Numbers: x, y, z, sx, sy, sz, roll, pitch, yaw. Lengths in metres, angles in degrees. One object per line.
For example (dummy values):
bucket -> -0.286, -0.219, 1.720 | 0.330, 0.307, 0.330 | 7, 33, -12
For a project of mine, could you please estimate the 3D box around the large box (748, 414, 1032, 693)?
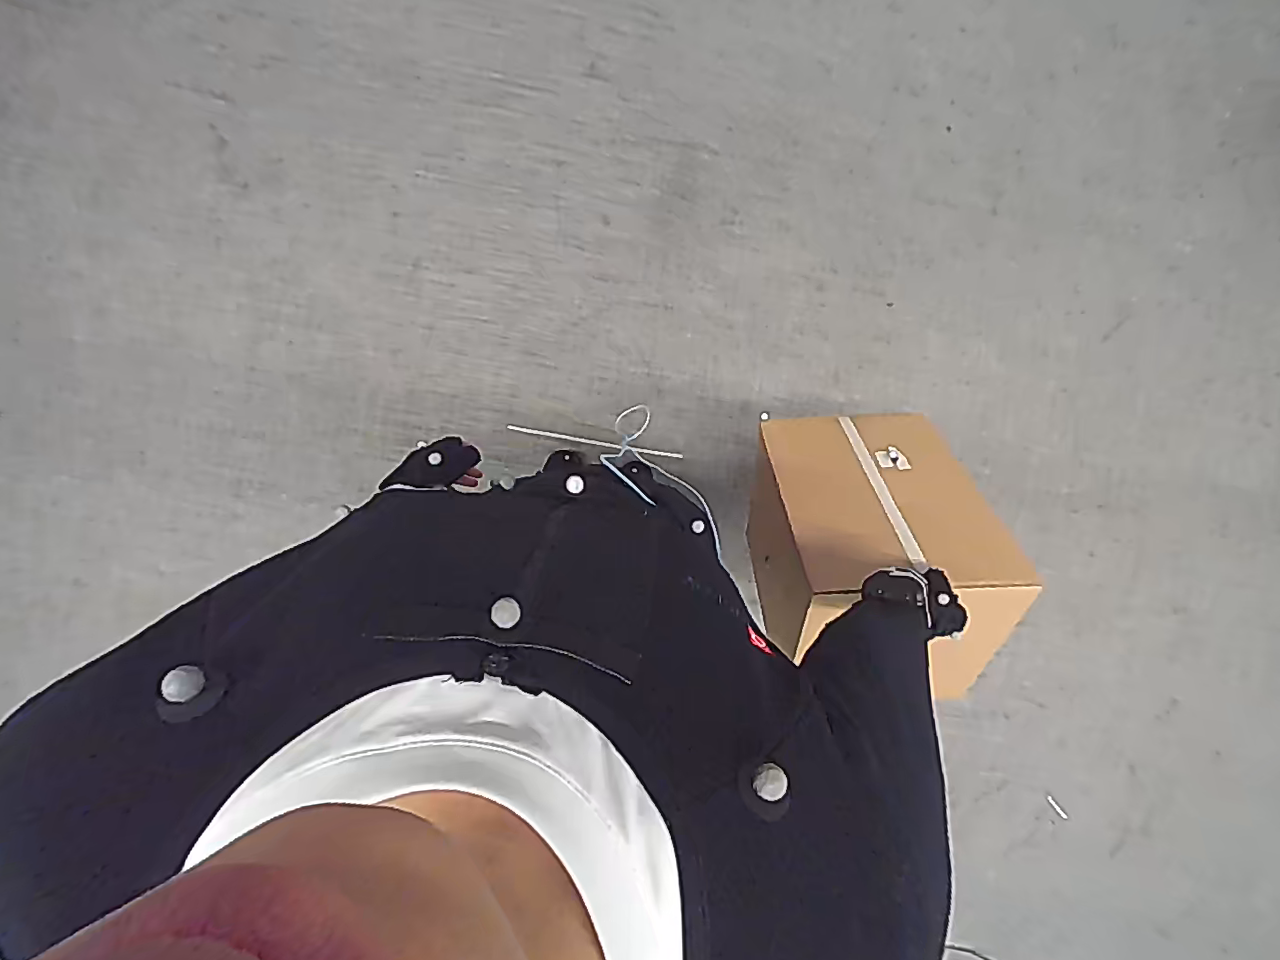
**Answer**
large box -> 0.392, 0.124, 0.988 | 0.320, 0.408, 0.320 | -1, 131, 0
